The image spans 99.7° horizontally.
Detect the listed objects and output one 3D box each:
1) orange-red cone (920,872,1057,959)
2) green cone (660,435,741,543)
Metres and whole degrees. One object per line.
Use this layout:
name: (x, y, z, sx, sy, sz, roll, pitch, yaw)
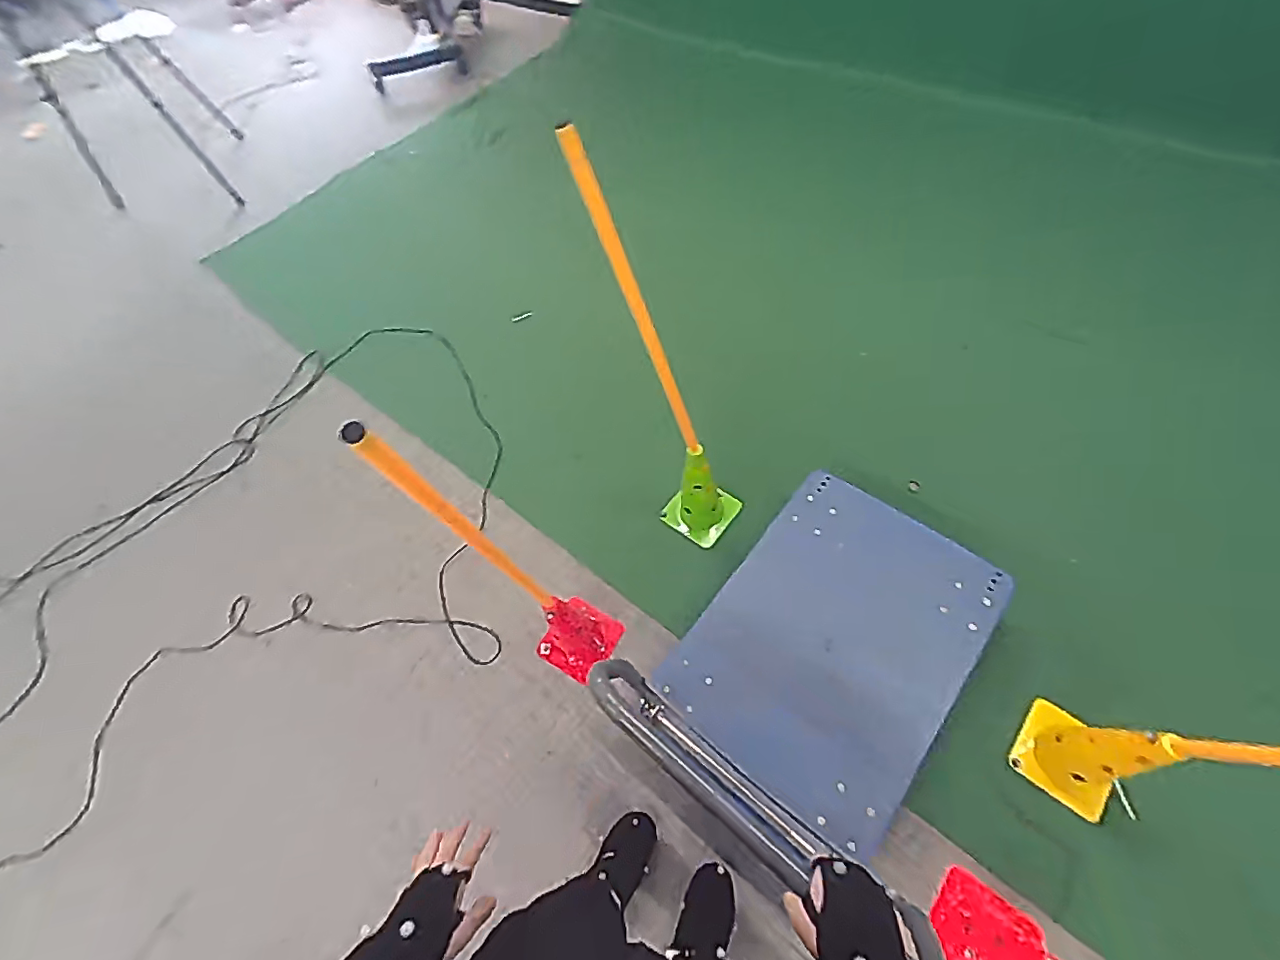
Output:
orange-red cone: (0.699, 0.883, 0.985, 0.198, 0.360, 0.199, 34, 67, 23)
green cone: (0.173, -0.005, 1.577, 0.200, 0.368, 0.202, 33, 68, 24)
